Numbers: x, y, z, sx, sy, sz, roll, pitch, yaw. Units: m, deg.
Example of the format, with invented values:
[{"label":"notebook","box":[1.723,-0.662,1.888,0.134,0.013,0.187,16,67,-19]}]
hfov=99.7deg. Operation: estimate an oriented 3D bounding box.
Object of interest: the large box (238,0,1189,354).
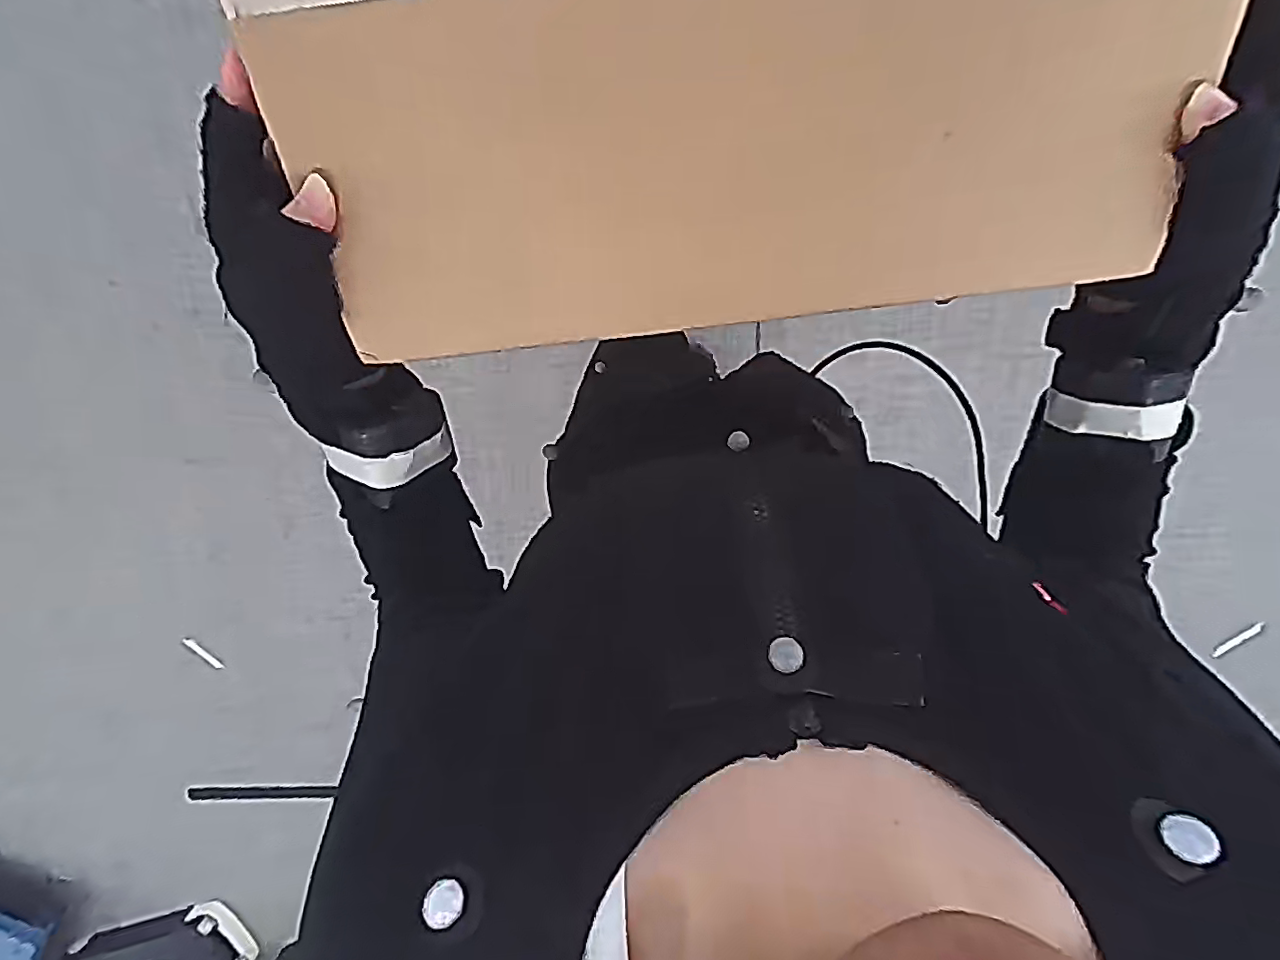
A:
[{"label":"large box","box":[0.029,-0.299,0.341,0.408,0.320,0.320,-6,119,3]}]
